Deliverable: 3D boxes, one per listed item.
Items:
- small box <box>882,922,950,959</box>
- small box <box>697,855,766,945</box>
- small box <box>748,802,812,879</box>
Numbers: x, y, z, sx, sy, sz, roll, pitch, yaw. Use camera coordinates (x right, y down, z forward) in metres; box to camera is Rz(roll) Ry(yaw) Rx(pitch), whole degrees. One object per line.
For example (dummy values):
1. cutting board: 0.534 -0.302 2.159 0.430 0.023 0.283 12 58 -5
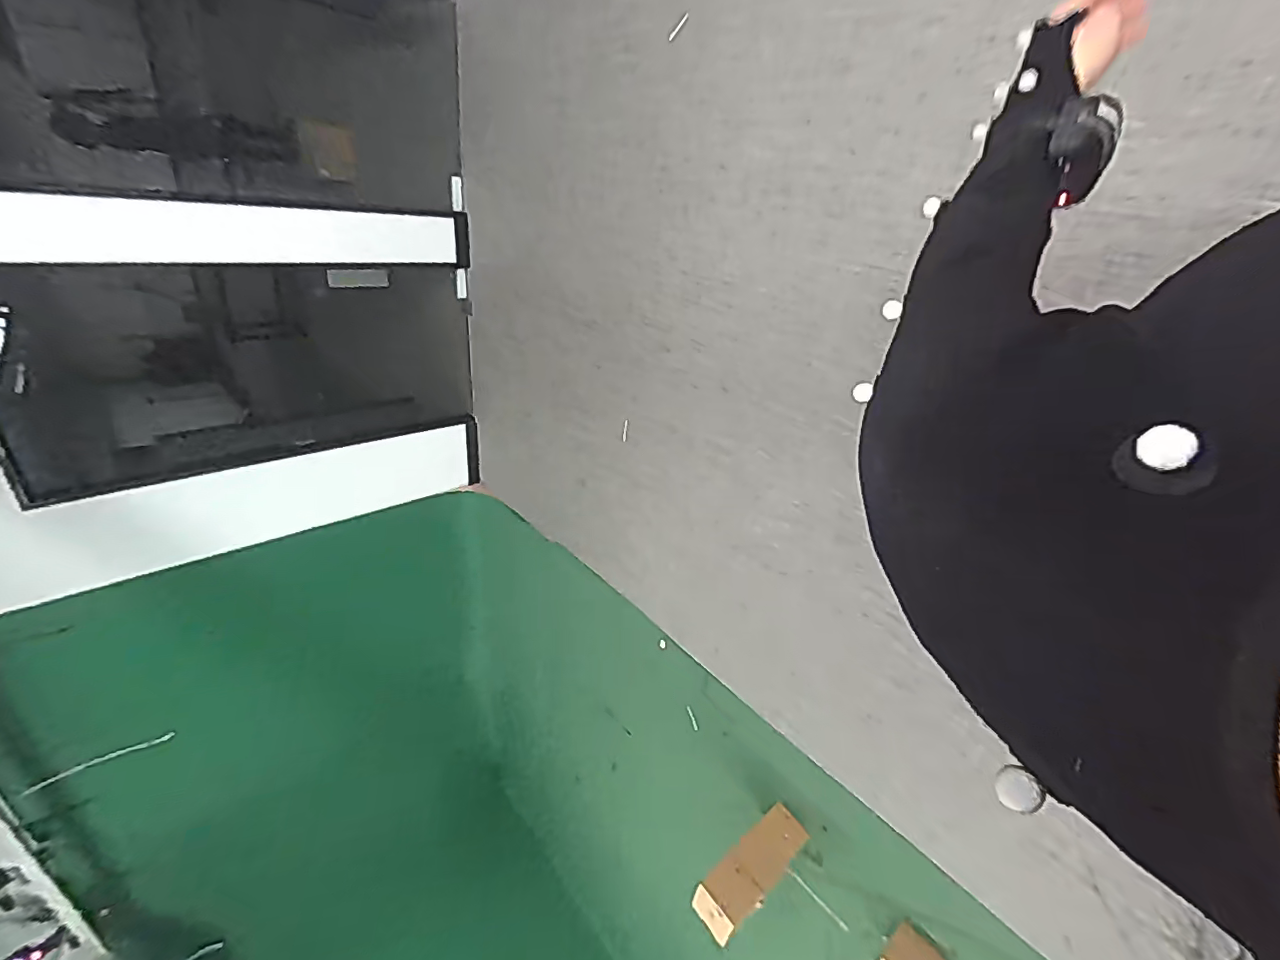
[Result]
1. small box: 0.942 1.681 1.849 0.179 0.176 0.168 31 126 39
2. small box: 0.337 1.536 1.985 0.168 0.176 0.179 36 130 37
3. small box: 0.574 1.461 2.199 0.168 0.176 0.179 39 132 34
